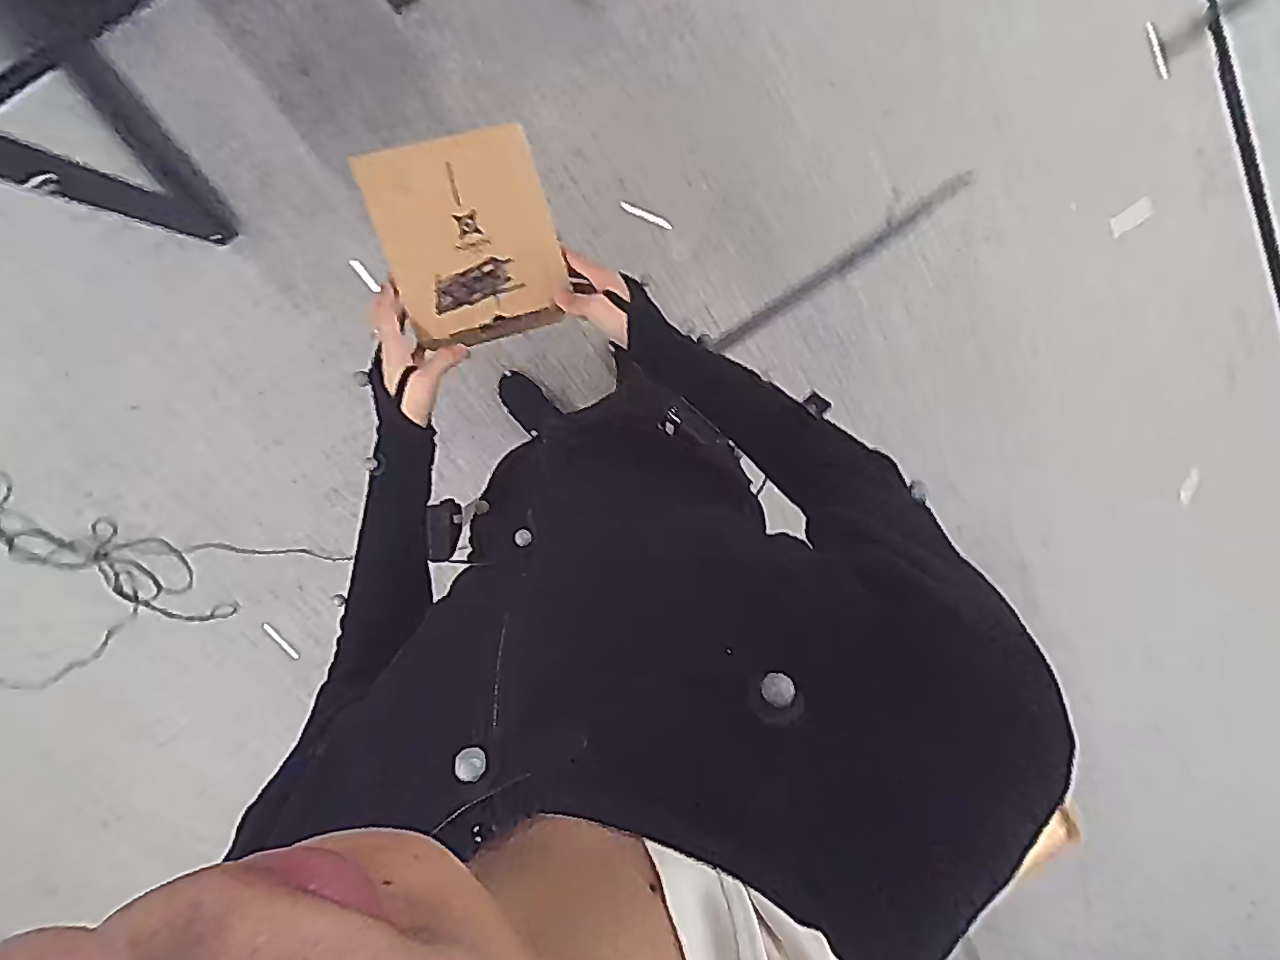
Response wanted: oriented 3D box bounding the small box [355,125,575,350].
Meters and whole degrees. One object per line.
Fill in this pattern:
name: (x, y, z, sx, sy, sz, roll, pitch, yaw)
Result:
small box: (-0.180, -0.249, 0.599, 0.168, 0.176, 0.179, -18, 103, -10)
